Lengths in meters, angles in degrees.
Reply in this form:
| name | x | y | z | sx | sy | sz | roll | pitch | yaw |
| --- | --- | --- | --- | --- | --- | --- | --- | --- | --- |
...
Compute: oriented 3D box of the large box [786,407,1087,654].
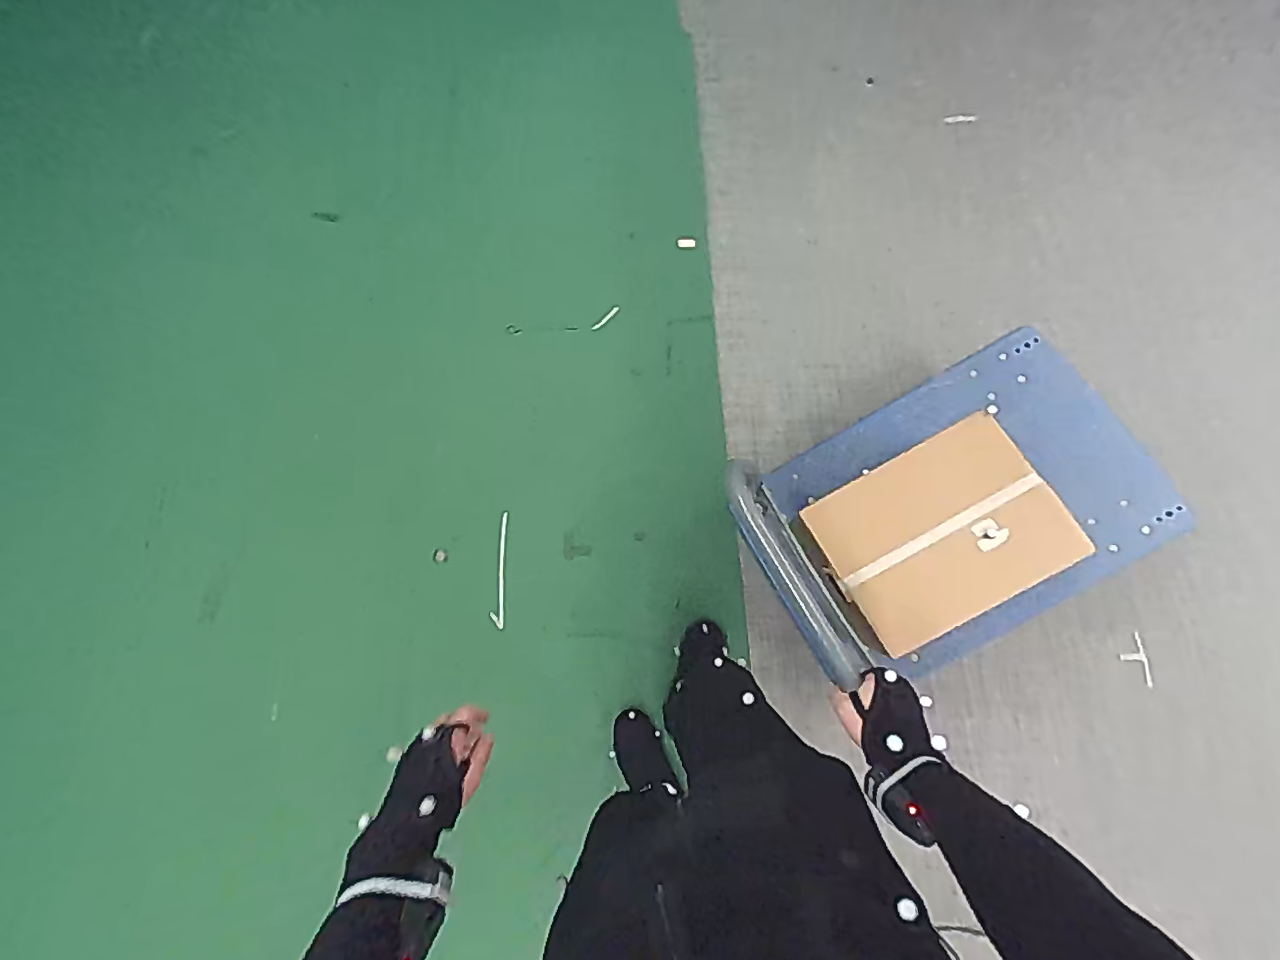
| name | x | y | z | sx | sy | sz | roll | pitch | yaw |
| --- | --- | --- | --- | --- | --- | --- | --- | --- | --- |
| large box | 0.572 | 0.119 | 1.139 | 0.408 | 0.320 | 0.320 | -30 | 76 | 2 |
